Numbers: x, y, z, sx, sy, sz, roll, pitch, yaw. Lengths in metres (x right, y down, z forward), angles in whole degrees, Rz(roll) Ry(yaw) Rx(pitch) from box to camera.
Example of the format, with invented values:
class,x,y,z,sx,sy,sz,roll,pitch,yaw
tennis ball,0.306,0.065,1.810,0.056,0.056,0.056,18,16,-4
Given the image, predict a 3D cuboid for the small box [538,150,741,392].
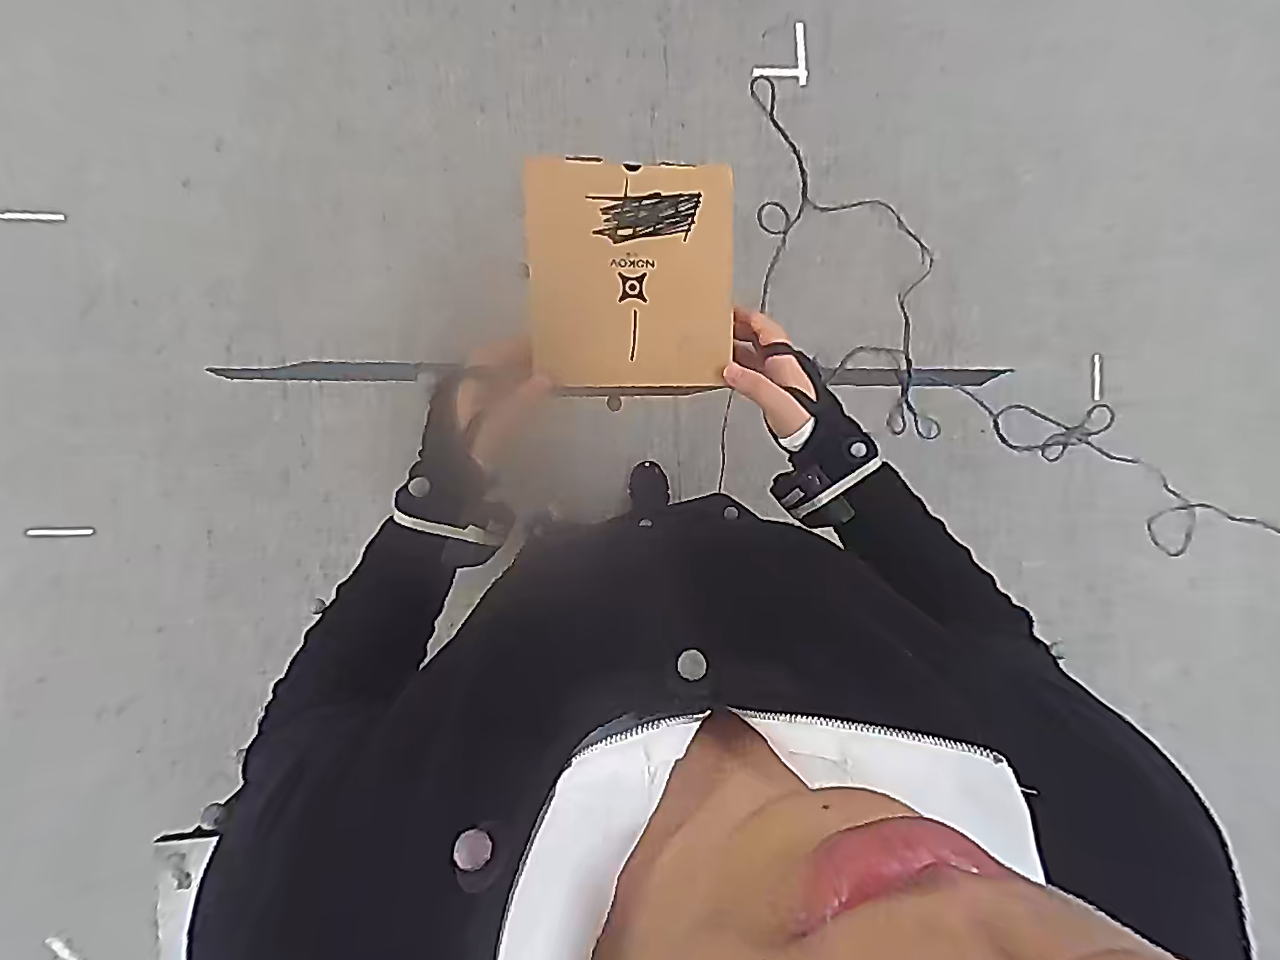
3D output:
class,x,y,z,sx,sy,sz,roll,pitch,yaw
small box,-0.010,-0.177,0.512,0.168,0.176,0.179,-2,97,-7
